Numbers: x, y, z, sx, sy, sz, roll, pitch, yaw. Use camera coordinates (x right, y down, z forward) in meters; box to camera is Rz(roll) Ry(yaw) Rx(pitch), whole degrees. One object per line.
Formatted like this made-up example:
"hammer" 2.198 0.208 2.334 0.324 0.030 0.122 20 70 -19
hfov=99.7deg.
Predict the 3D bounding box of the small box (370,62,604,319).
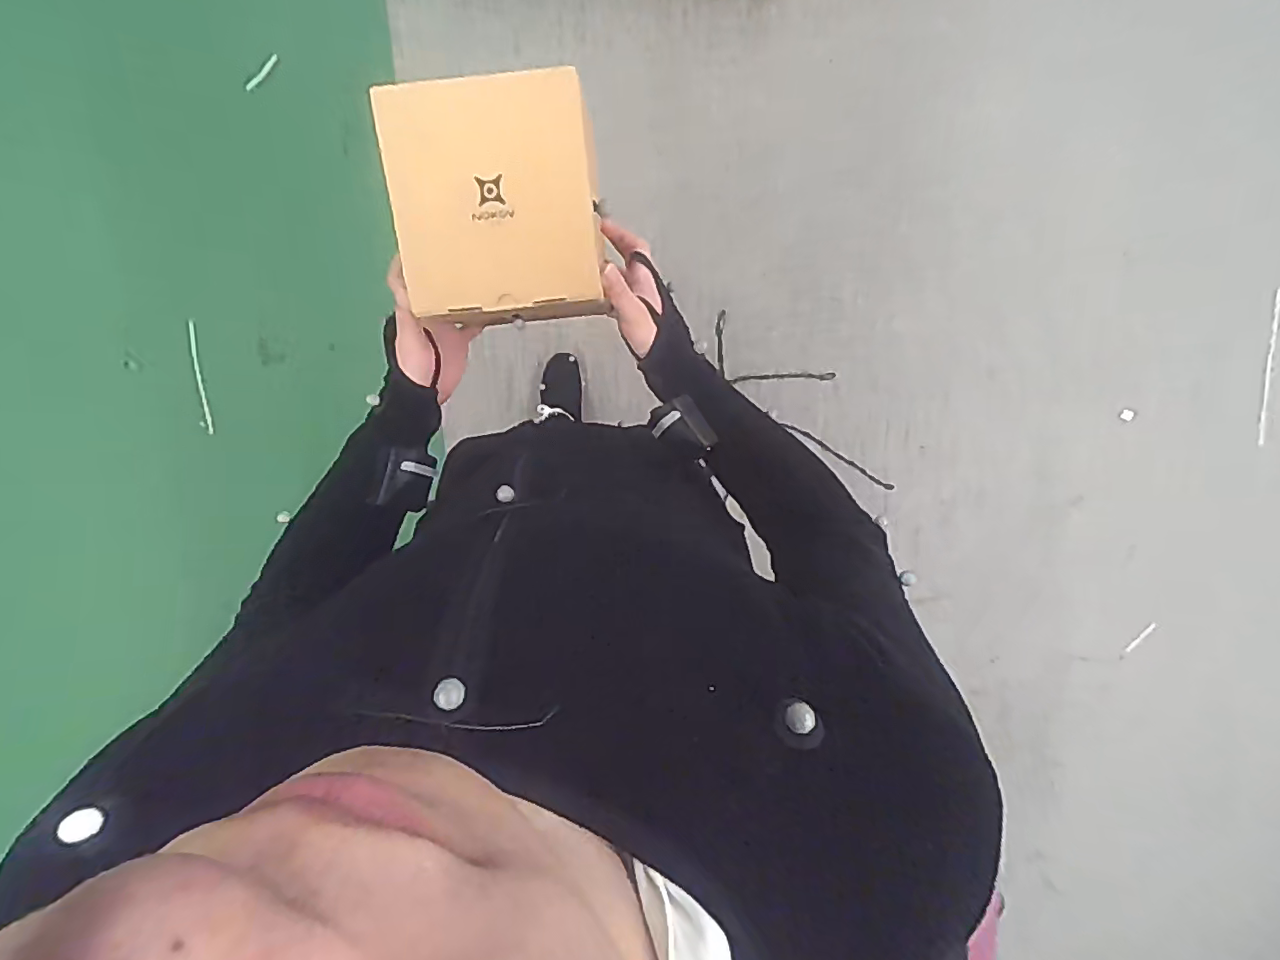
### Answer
"small box" -0.126 -0.255 0.519 0.168 0.176 0.179 -6 105 0
